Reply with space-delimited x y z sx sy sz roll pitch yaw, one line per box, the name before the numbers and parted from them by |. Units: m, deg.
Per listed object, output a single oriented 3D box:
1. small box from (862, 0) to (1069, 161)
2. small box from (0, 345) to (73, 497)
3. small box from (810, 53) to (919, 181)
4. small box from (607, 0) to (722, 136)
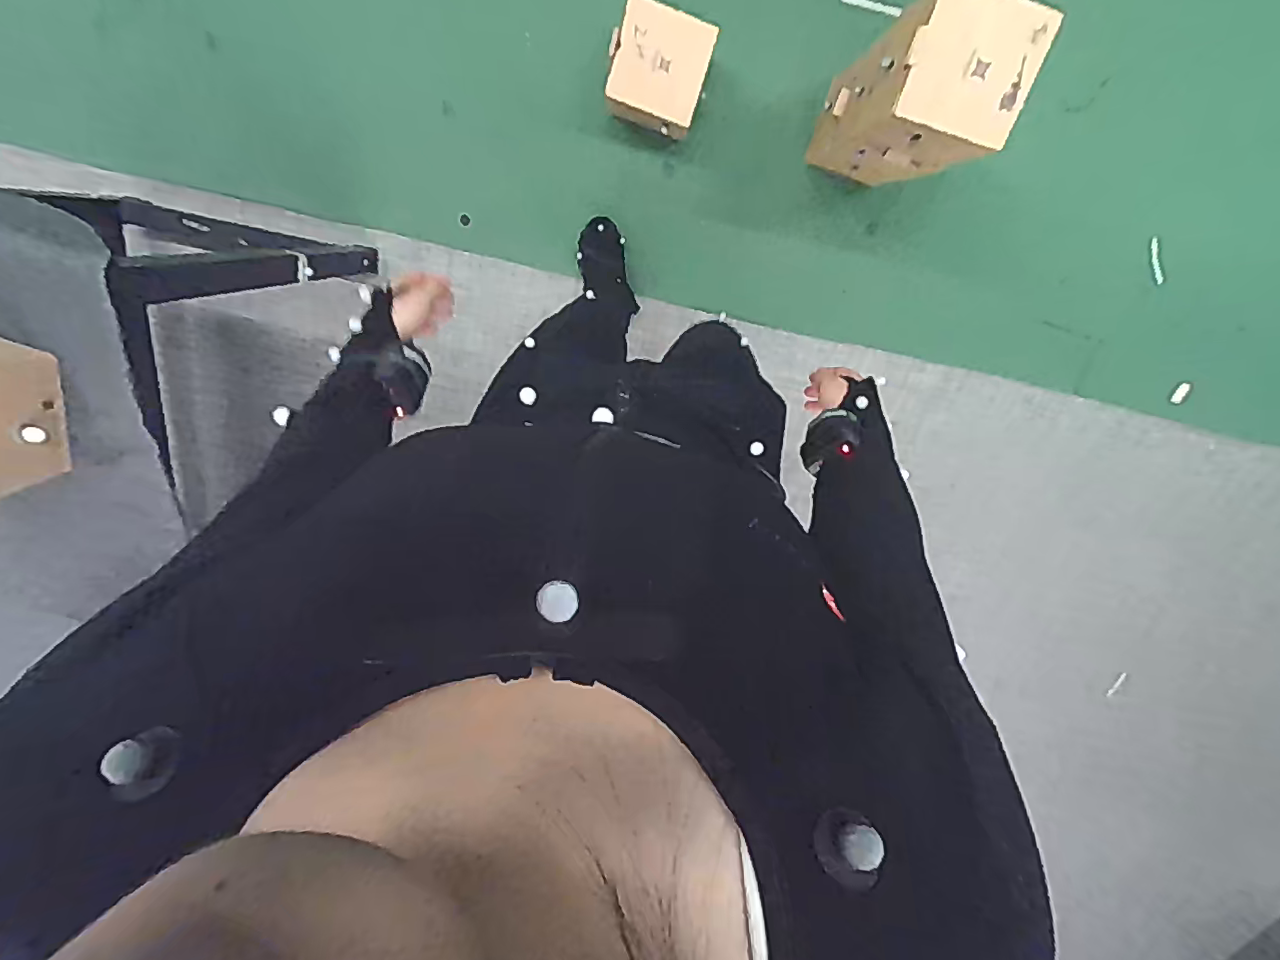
small box | 0.464 -0.597 0.809 0.179 0.176 0.168 14 113 -5
small box | -0.821 -0.069 0.615 0.179 0.176 0.168 17 114 -5
small box | 0.478 -0.730 1.109 0.179 0.176 0.168 15 114 -6
small box | 0.044 -0.808 1.075 0.179 0.176 0.168 17 113 -7
